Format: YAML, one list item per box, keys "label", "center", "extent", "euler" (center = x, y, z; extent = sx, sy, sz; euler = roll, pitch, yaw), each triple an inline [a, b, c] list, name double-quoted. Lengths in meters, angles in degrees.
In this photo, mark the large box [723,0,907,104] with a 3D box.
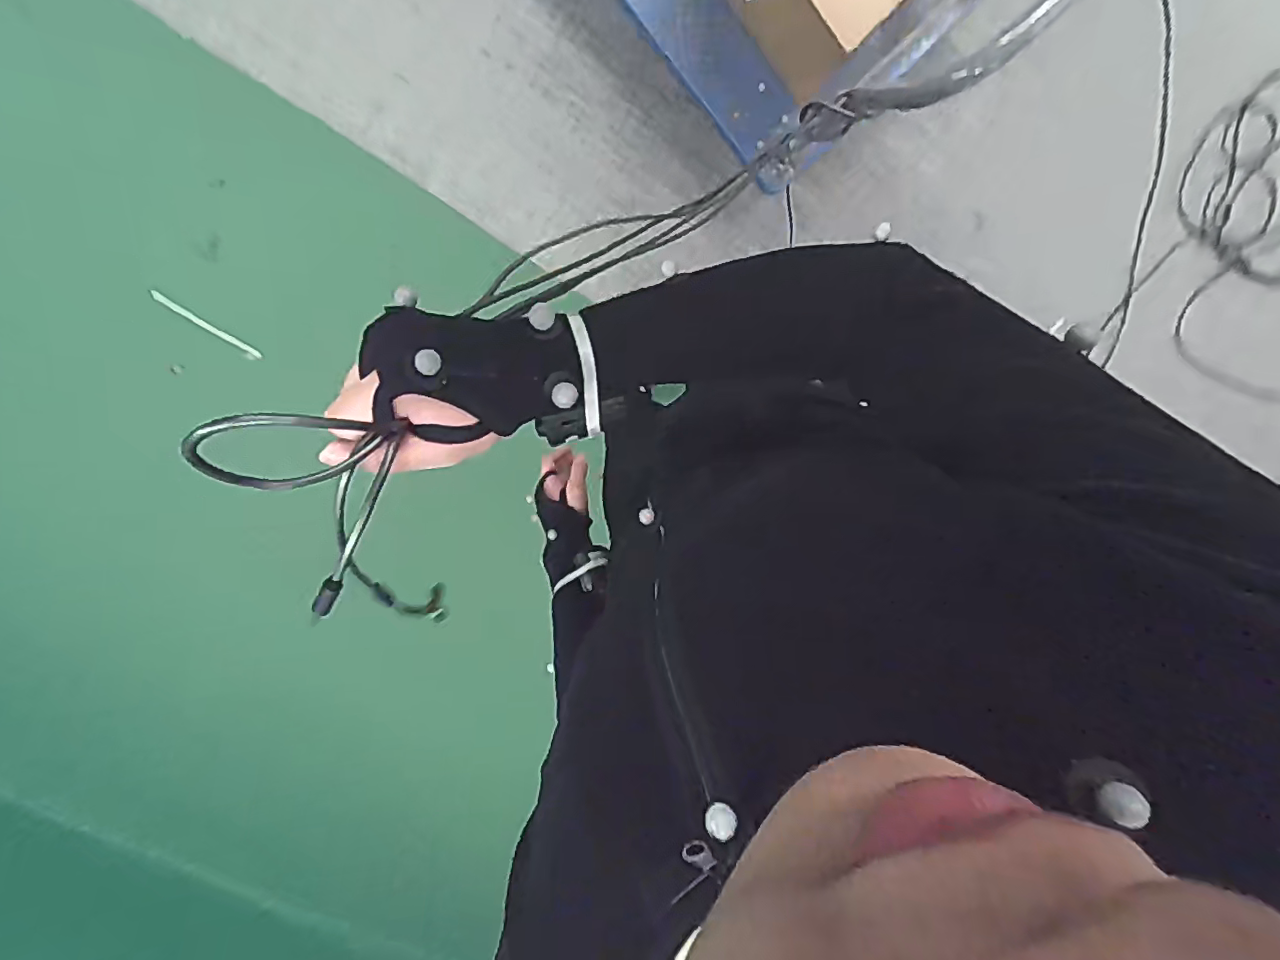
- label: "large box"
  center: [0.311, -0.969, 0.926]
  extent: [0.320, 0.320, 0.408]
  euler: [-41, 104, 16]
